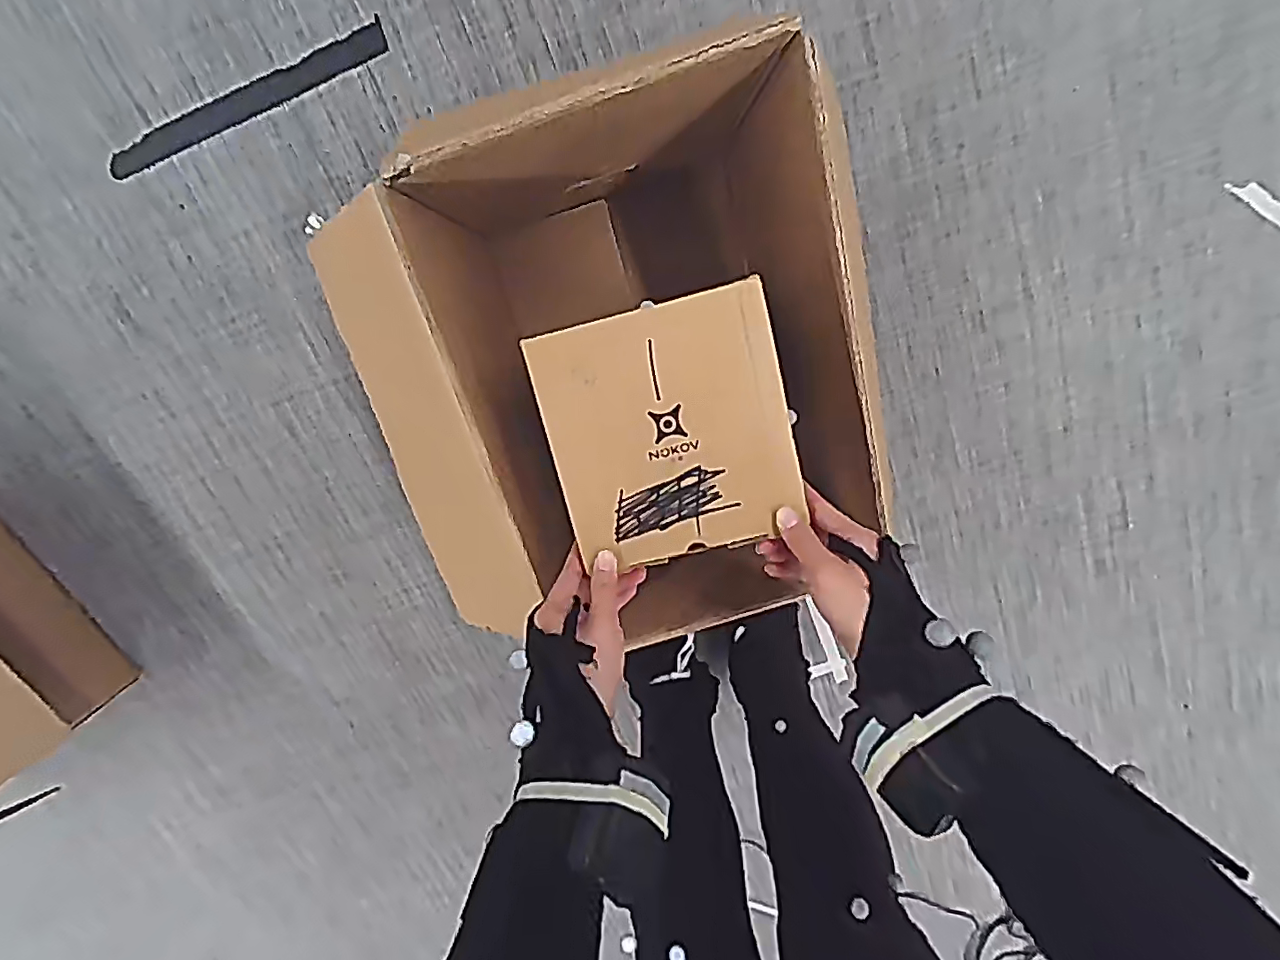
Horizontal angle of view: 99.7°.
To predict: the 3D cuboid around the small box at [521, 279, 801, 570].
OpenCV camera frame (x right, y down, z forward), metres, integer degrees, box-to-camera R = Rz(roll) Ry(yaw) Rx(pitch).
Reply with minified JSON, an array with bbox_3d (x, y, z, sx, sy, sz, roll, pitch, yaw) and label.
[{"bbox_3d":[0.021,-0.048,0.453,0.168,0.176,0.179,-14,99,5],"label":"small box"}]
